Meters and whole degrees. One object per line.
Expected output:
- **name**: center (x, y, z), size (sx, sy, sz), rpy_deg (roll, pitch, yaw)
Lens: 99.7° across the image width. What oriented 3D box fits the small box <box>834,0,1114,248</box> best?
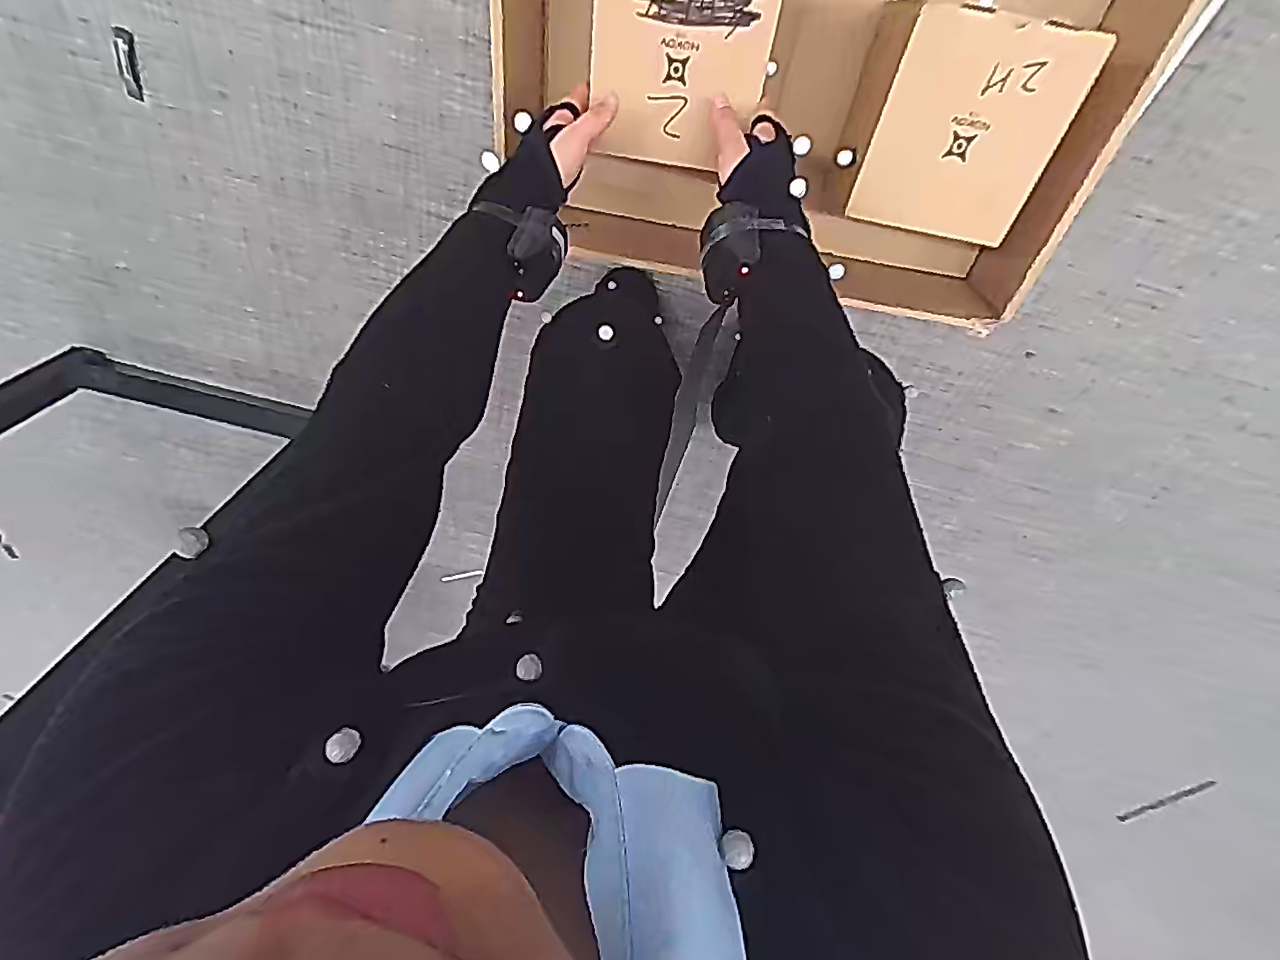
- **small box**: center (0.317, -0.372, 0.566), size (0.168, 0.176, 0.179), rpy_deg (12, 130, 0)
